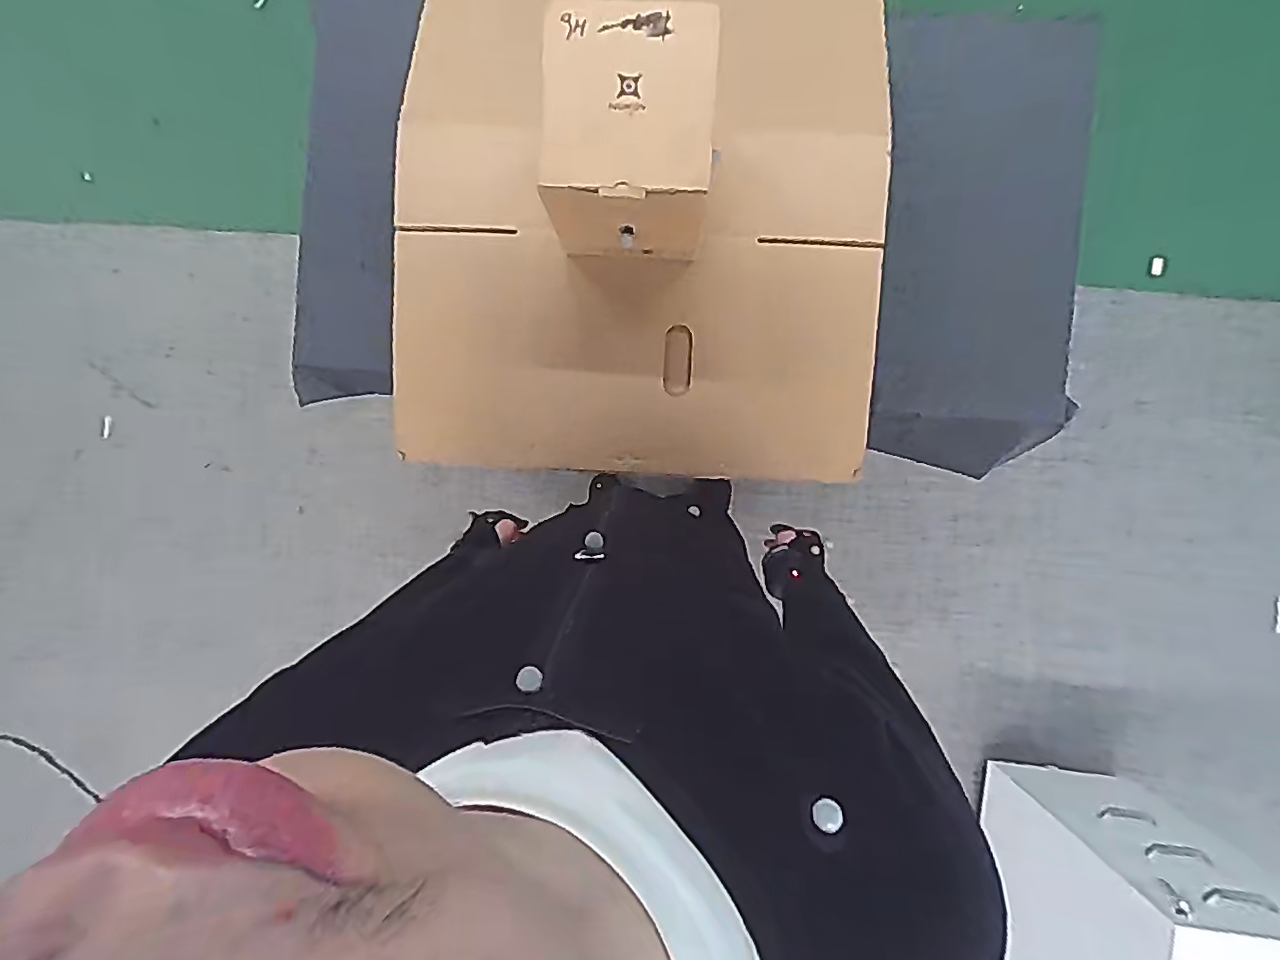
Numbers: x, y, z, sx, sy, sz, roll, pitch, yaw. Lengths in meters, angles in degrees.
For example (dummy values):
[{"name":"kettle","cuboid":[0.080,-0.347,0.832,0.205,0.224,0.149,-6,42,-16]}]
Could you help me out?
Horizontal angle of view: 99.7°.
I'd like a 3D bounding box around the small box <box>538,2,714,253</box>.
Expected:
[{"name":"small box","cuboid":[-0.010,-0.362,0.588,0.168,0.176,0.179,1,92,2]}]
